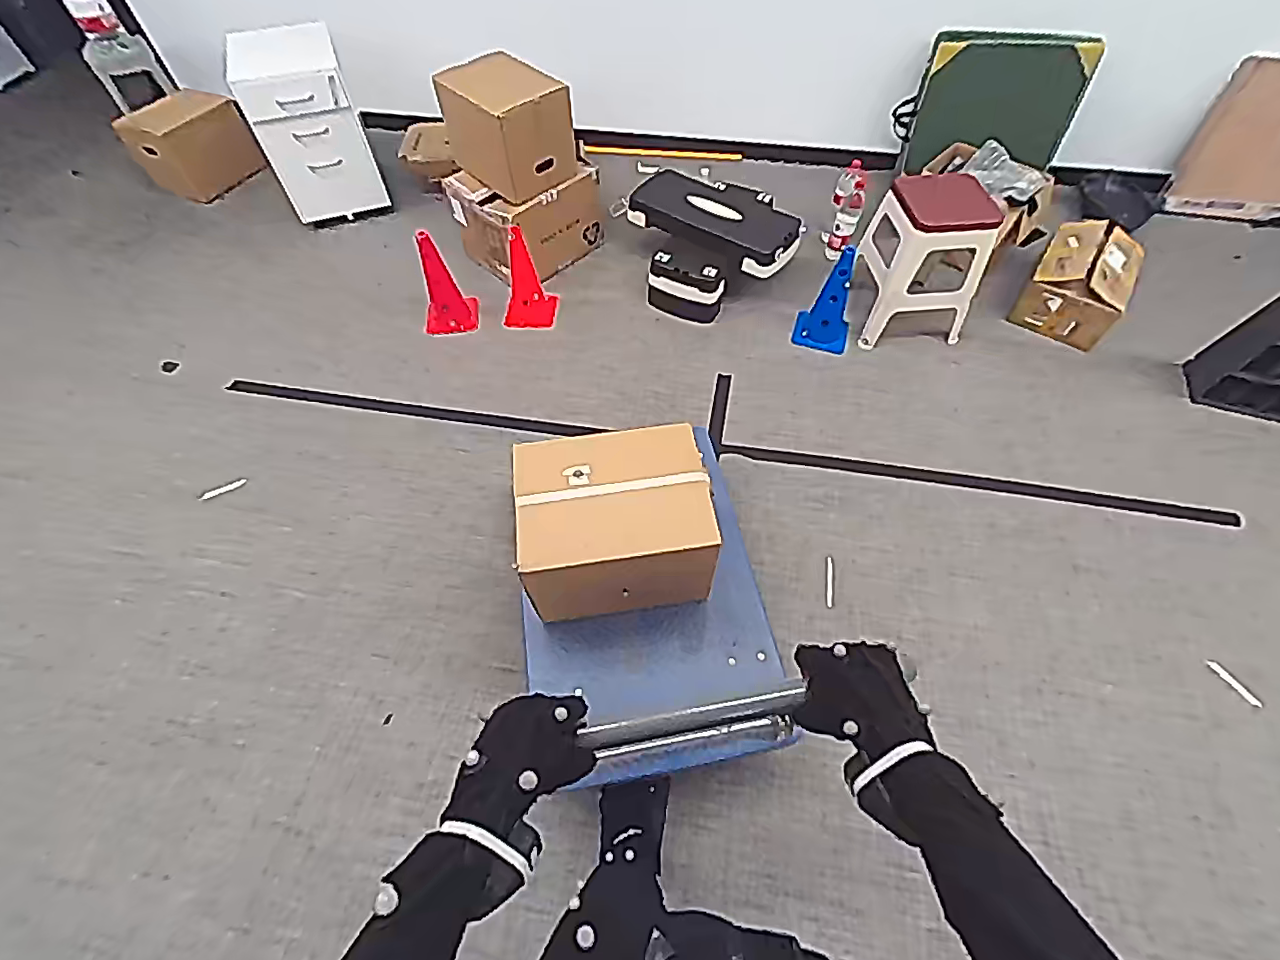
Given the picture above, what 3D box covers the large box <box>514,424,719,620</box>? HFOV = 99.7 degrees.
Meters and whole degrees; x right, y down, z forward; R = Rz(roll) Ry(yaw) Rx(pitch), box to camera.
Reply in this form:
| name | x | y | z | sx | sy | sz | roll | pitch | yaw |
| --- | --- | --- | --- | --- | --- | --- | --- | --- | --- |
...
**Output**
| name | x | y | z | sx | sy | sz | roll | pitch | yaw |
| --- | --- | --- | --- | --- | --- | --- | --- | --- | --- |
| large box | -0.056 | 0.106 | 1.263 | 0.408 | 0.320 | 0.320 | -8 | 57 | -4 |
